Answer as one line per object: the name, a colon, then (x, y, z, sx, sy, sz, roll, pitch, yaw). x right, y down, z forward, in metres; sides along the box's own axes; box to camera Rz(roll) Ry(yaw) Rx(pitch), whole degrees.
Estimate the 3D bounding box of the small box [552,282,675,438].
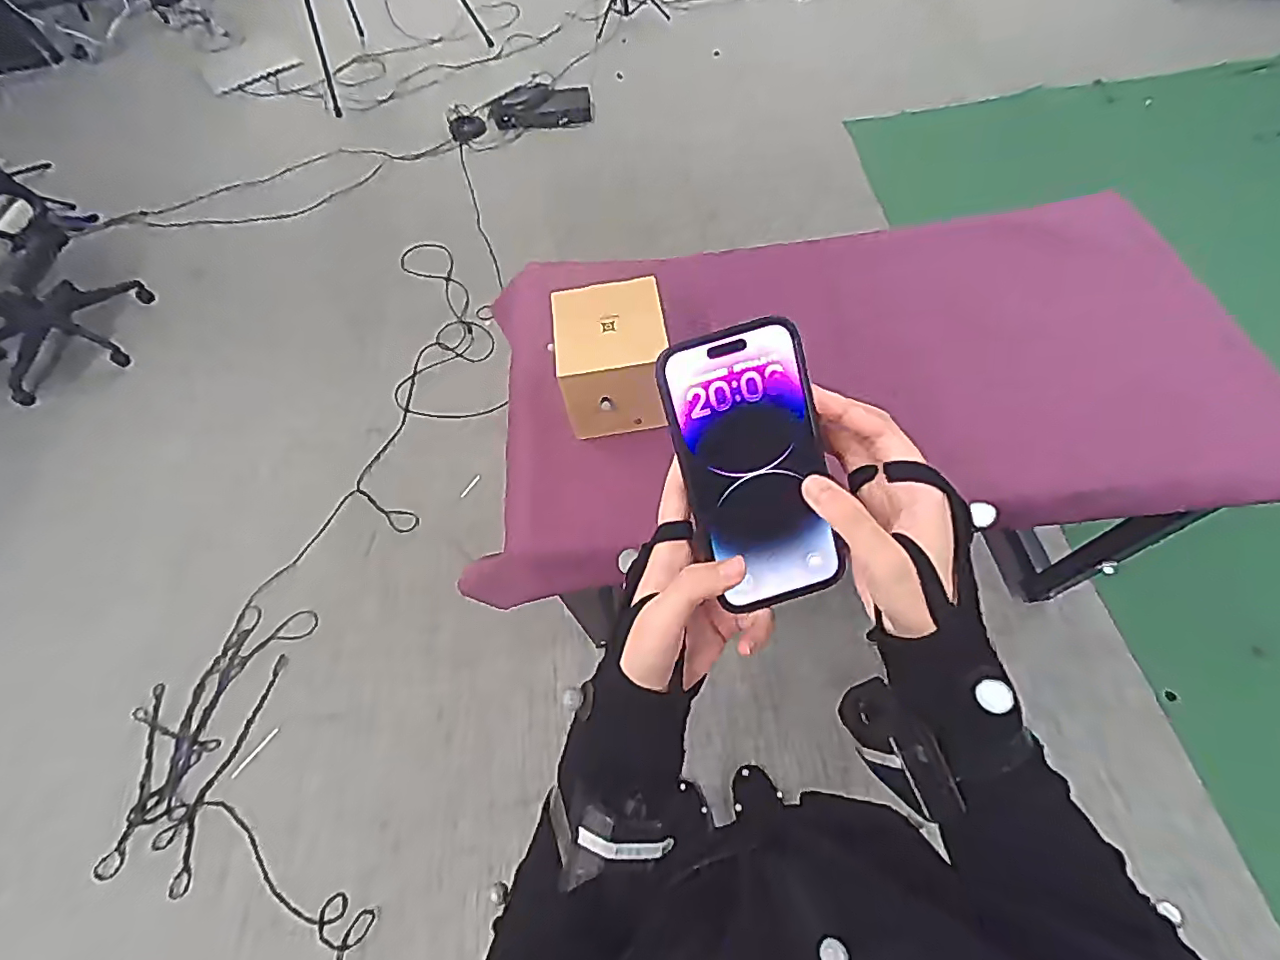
small box: (-0.039, -0.182, 0.869, 0.168, 0.176, 0.179, -9, 59, 1)
